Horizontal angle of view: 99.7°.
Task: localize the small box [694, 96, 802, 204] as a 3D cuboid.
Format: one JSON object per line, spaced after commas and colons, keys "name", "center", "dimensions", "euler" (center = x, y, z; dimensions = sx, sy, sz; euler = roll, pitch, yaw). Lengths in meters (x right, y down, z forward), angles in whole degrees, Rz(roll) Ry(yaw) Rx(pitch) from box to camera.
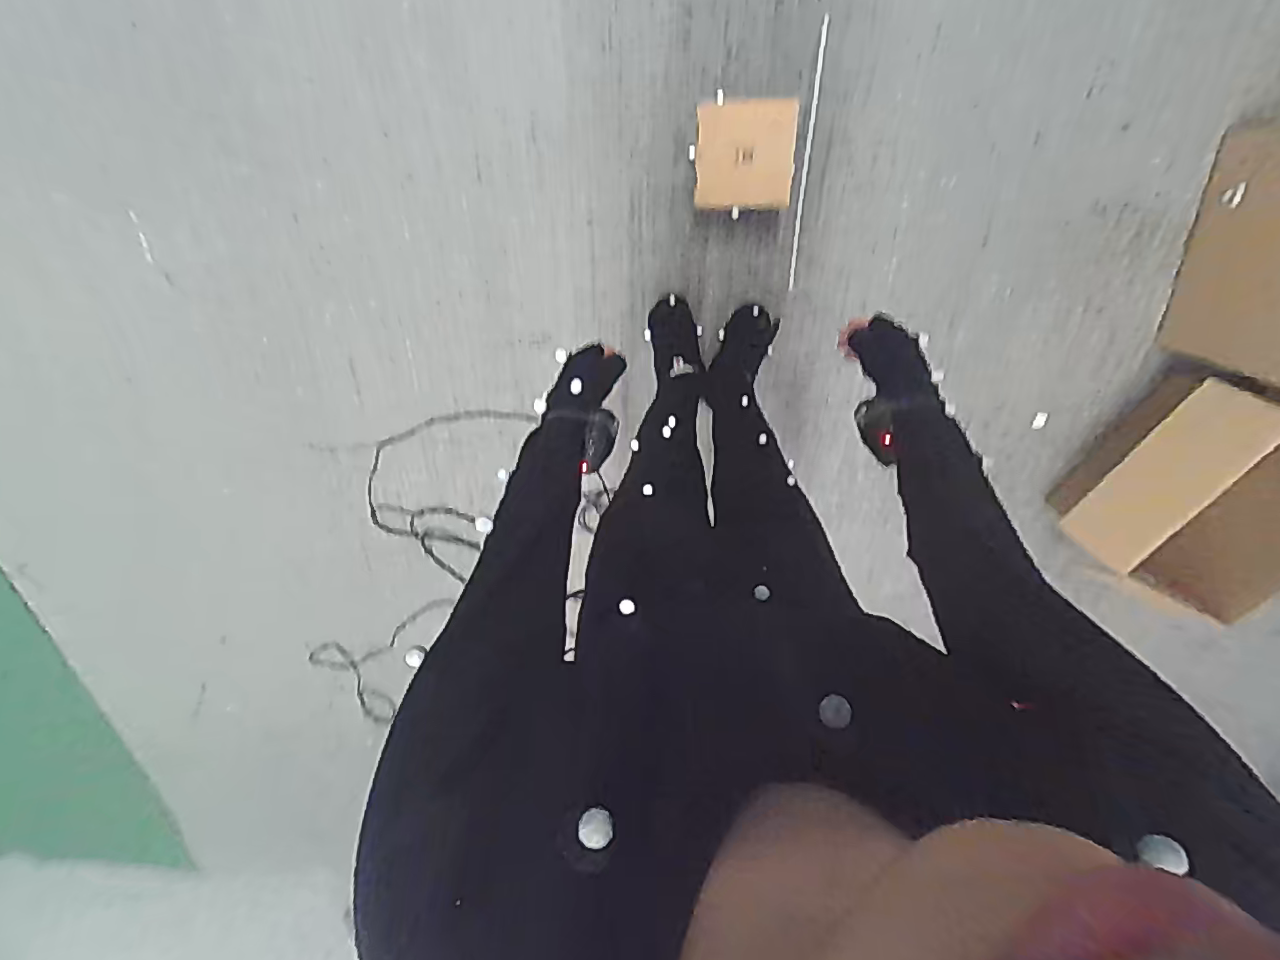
{"name": "small box", "center": [0.194, -0.618, 1.024], "dimensions": [0.179, 0.176, 0.168], "euler": [2, 118, 5]}
